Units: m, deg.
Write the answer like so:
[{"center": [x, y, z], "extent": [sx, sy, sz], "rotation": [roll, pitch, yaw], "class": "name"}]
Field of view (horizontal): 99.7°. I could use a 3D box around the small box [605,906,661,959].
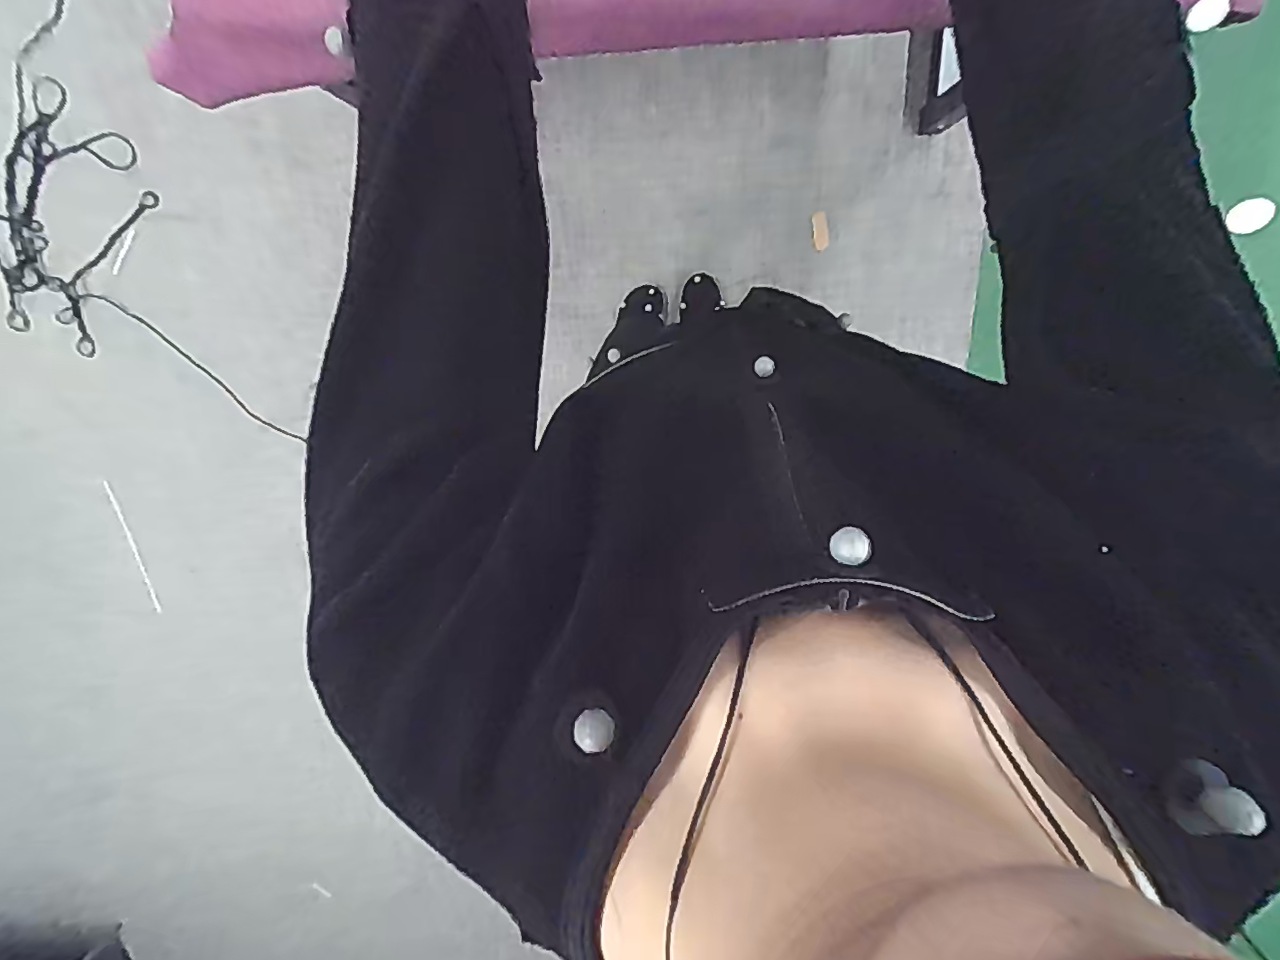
[{"center": [-0.019, 1.559, 1.797], "extent": [0.168, 0.176, 0.179], "rotation": [-5, 107, 6], "class": "small box"}]
